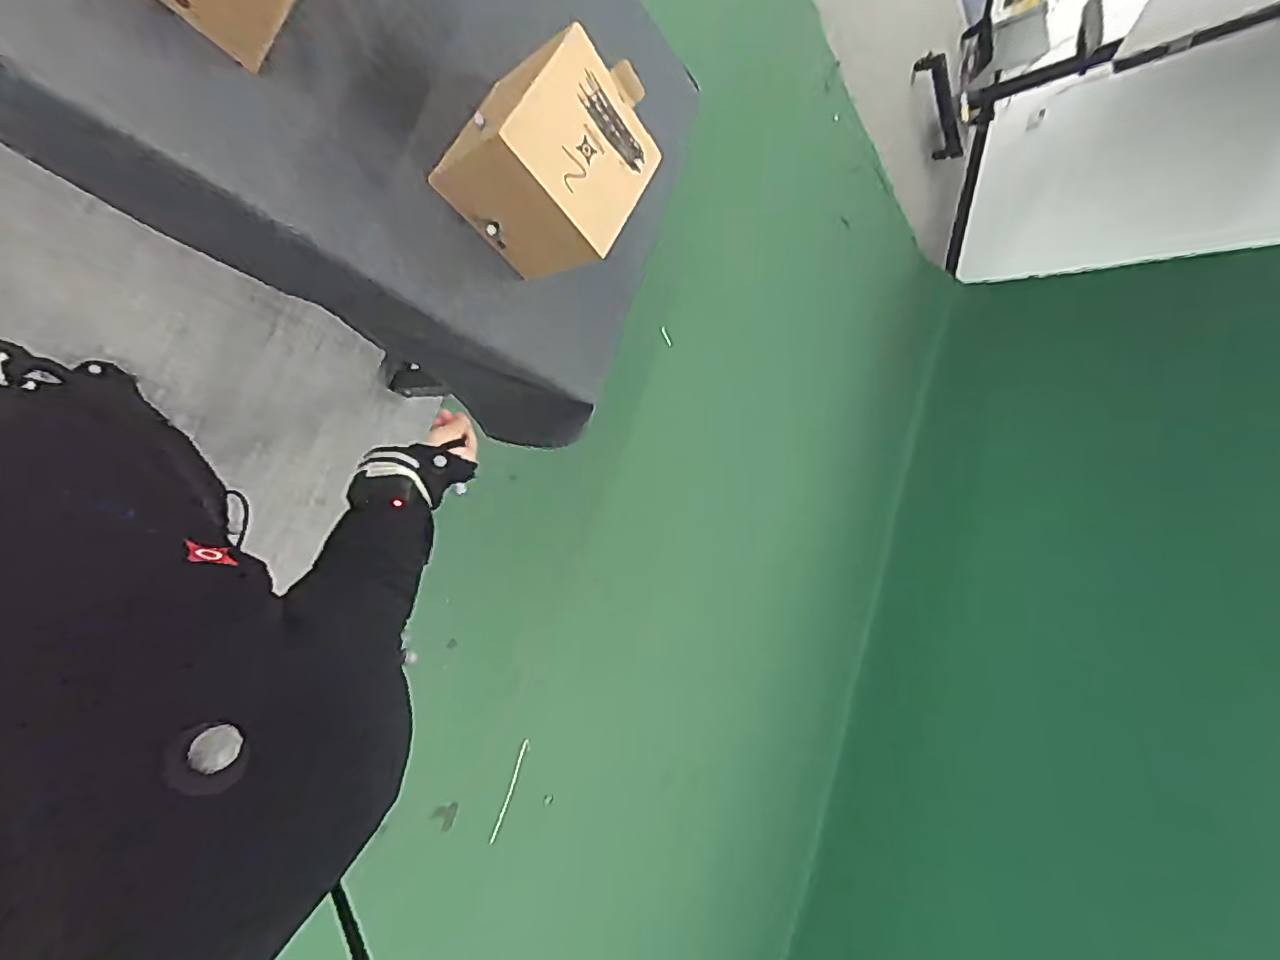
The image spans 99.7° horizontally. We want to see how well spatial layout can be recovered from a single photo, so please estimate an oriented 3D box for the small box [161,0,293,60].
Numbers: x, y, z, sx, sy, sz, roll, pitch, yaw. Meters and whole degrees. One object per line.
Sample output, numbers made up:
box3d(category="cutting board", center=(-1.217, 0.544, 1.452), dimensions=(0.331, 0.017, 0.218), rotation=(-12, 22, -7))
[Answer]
box3d(category="small box", center=(-0.340, -0.493, 0.420), dimensions=(0.168, 0.176, 0.179), rotation=(27, 77, -43))
